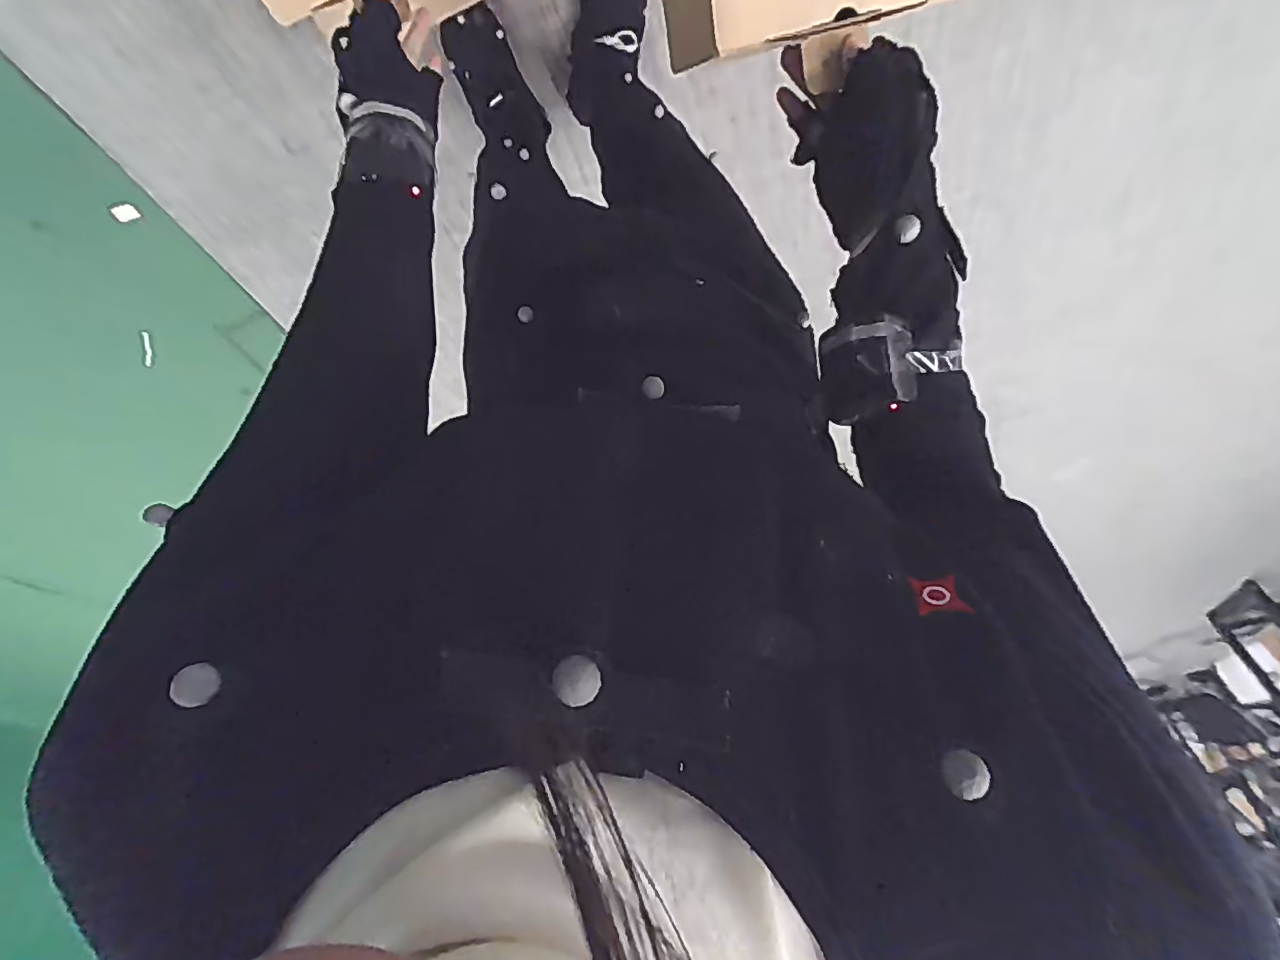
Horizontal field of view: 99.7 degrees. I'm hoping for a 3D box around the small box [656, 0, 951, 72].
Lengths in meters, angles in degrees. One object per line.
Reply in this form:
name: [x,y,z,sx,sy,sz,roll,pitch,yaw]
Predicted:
small box: [0.095,-0.396,0.360,0.168,0.176,0.179,-14,125,1]
